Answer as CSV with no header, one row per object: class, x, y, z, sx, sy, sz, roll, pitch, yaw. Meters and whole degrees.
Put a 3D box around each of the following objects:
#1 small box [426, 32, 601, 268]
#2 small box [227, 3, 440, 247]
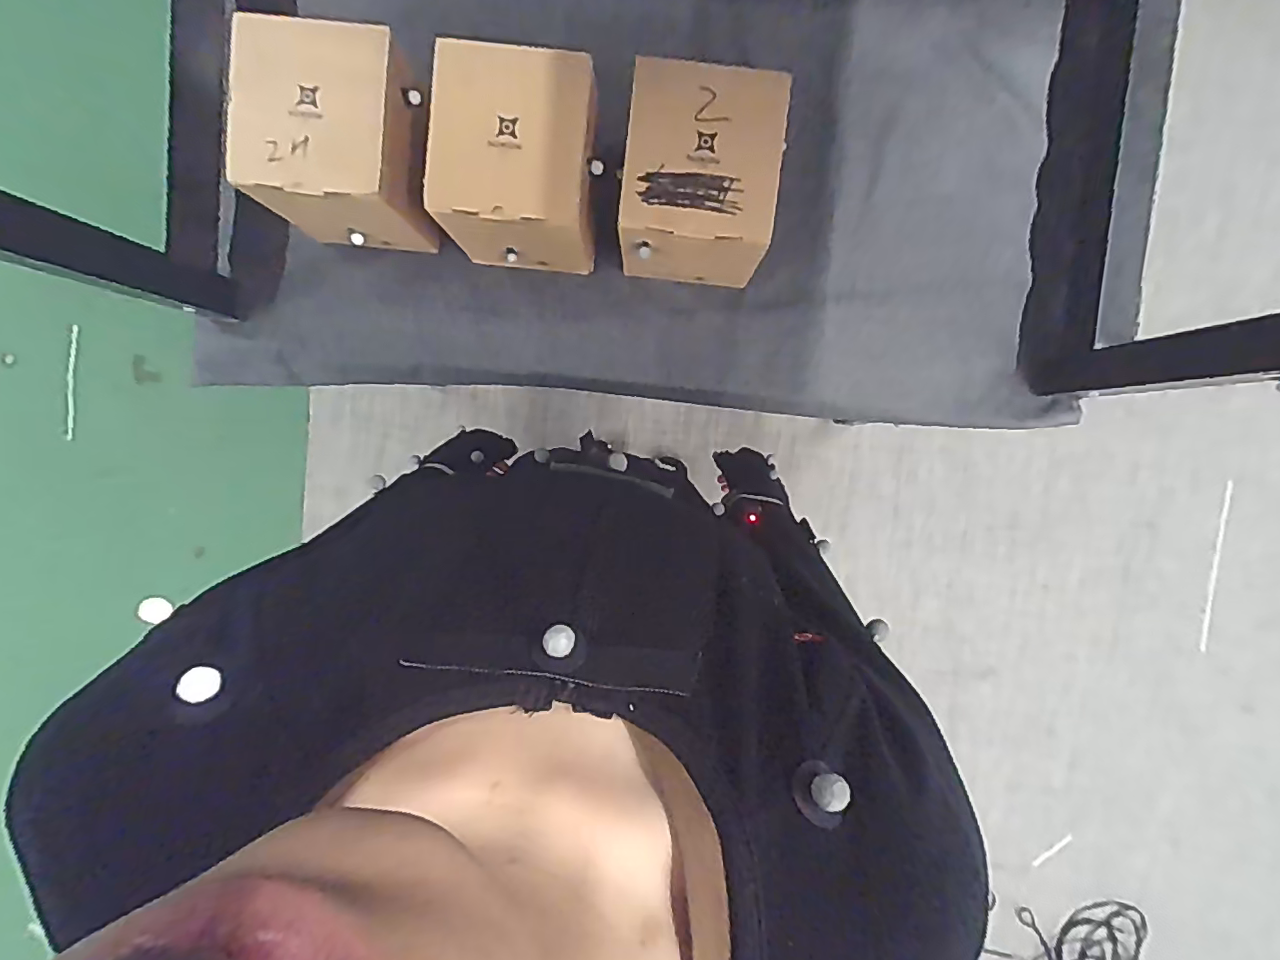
small box,-0.138,-0.376,0.648,0.168,0.176,0.179,6,95,-1
small box,-0.344,-0.403,0.644,0.168,0.176,0.179,6,94,0
